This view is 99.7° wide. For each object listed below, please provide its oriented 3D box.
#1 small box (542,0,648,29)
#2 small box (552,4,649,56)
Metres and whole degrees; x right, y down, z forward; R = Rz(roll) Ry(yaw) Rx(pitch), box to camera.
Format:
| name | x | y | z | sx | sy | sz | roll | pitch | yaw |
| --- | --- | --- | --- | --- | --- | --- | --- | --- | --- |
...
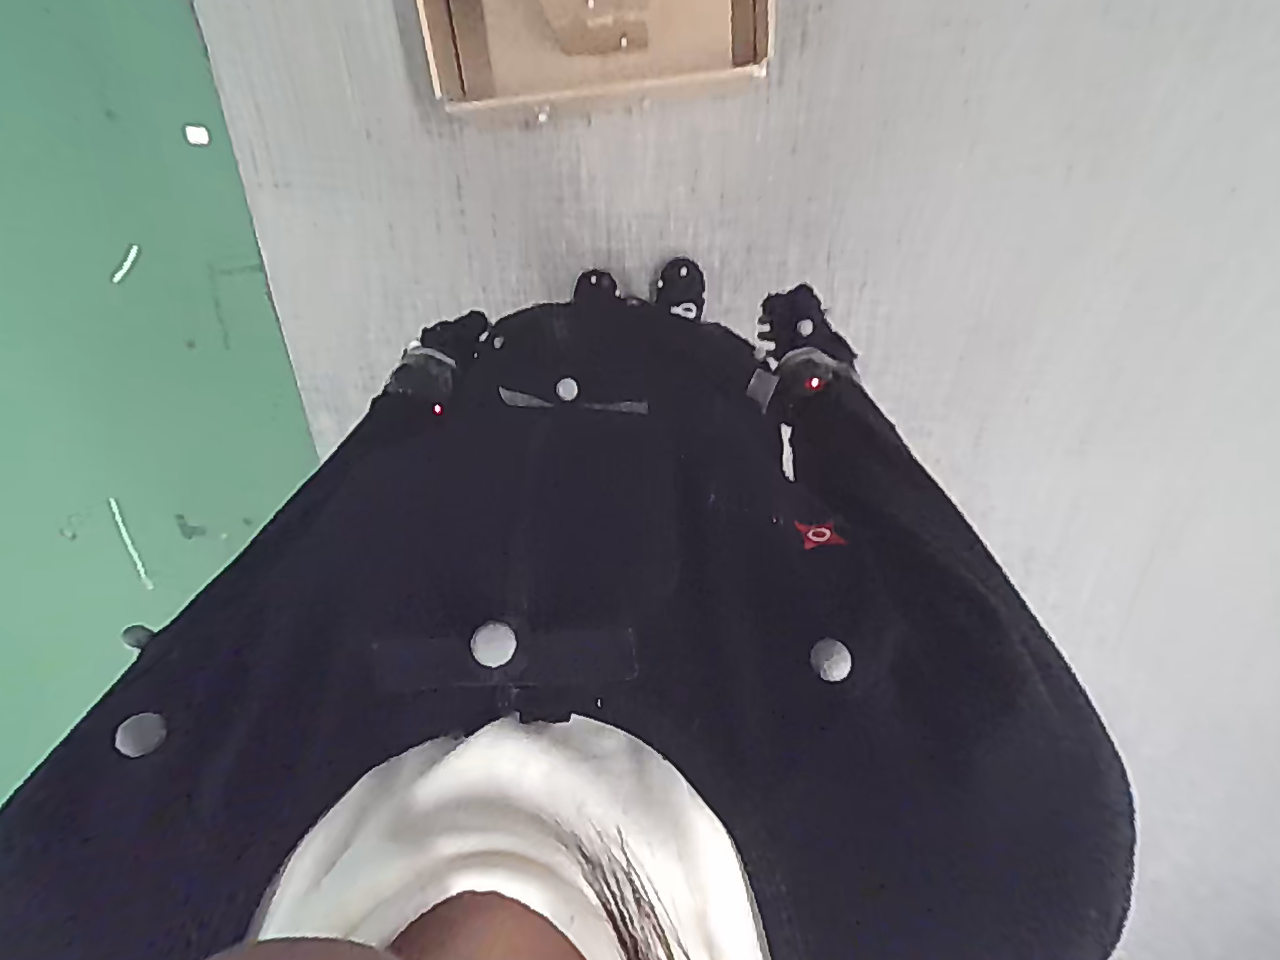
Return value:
| name | x | y | z | sx | sy | sz | roll | pitch | yaw |
| --- | --- | --- | --- | --- | --- | --- | --- | --- | --- |
| small box | -0.076 | -0.831 | 0.826 | 0.179 | 0.176 | 0.168 | -8 | 113 | 4 |
| small box | -0.072 | -0.897 | 0.975 | 0.168 | 0.176 | 0.179 | -3 | 111 | 3 |
